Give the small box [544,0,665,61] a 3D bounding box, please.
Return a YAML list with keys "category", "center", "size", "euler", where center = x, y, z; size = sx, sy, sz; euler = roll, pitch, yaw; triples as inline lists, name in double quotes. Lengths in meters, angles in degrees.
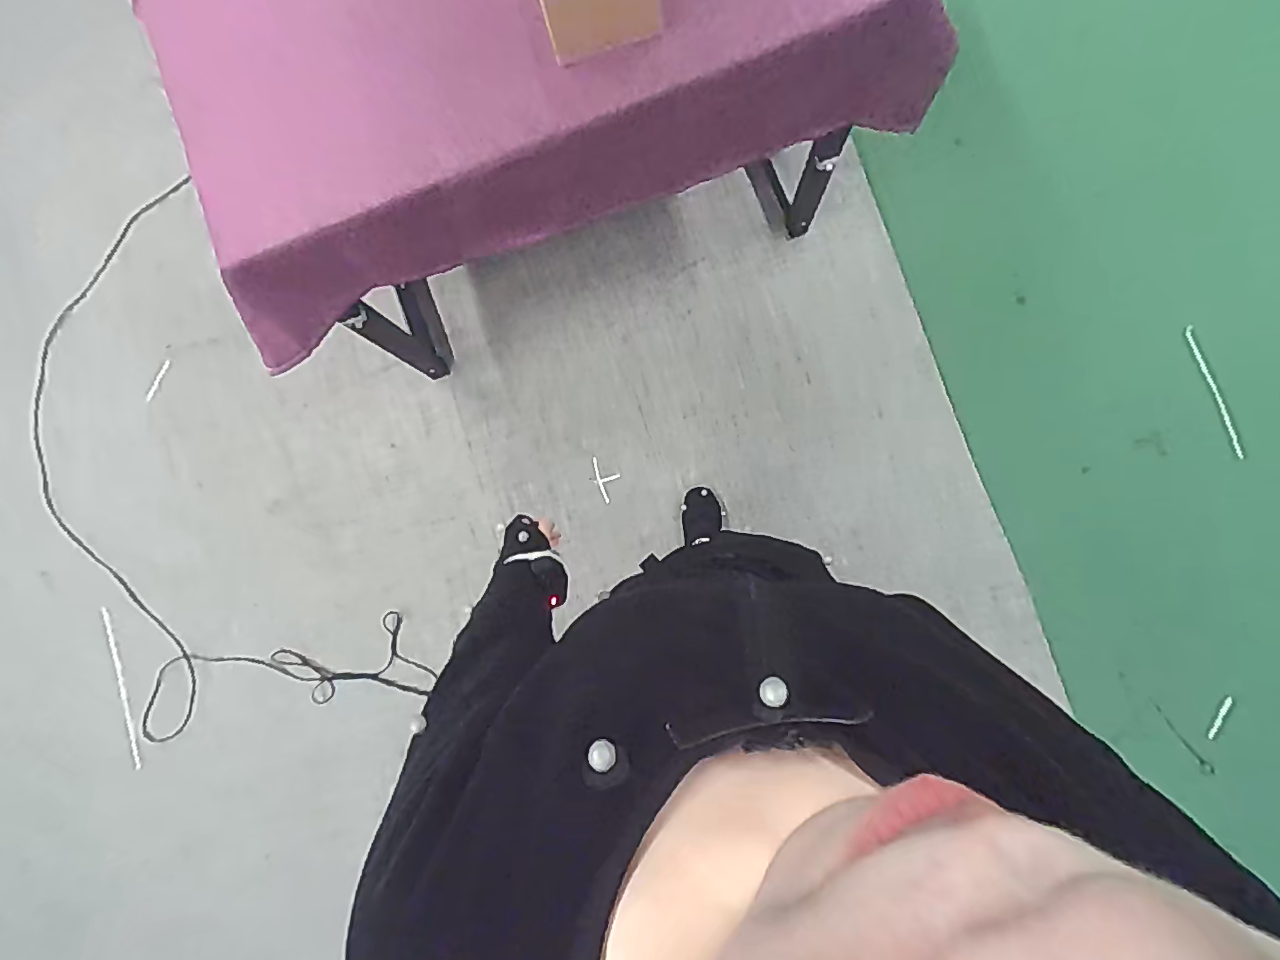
- category: "small box"
  center: [-0.068, -0.769, 0.792]
  size: [0.179, 0.176, 0.168]
  euler: [-15, 84, 3]
